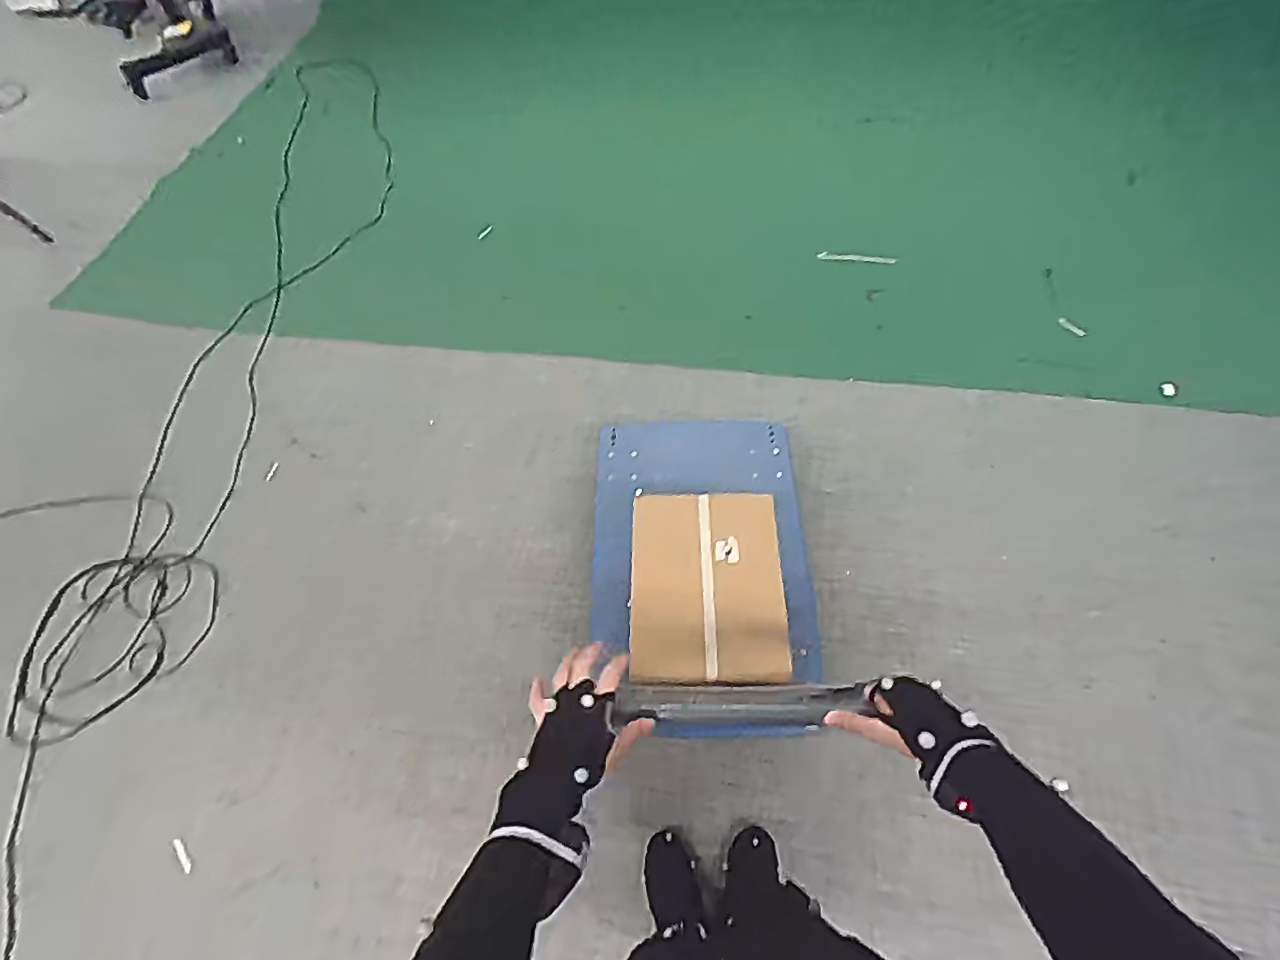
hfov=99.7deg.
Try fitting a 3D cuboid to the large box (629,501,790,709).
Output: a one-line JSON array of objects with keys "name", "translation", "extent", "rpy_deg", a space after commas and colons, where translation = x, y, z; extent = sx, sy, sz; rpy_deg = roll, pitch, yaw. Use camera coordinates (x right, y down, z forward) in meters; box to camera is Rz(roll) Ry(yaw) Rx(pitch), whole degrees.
[{"name": "large box", "translation": [0.141, 0.300, 1.264], "extent": [0.320, 0.320, 0.408], "rpy_deg": [-1, 60, 2]}]
